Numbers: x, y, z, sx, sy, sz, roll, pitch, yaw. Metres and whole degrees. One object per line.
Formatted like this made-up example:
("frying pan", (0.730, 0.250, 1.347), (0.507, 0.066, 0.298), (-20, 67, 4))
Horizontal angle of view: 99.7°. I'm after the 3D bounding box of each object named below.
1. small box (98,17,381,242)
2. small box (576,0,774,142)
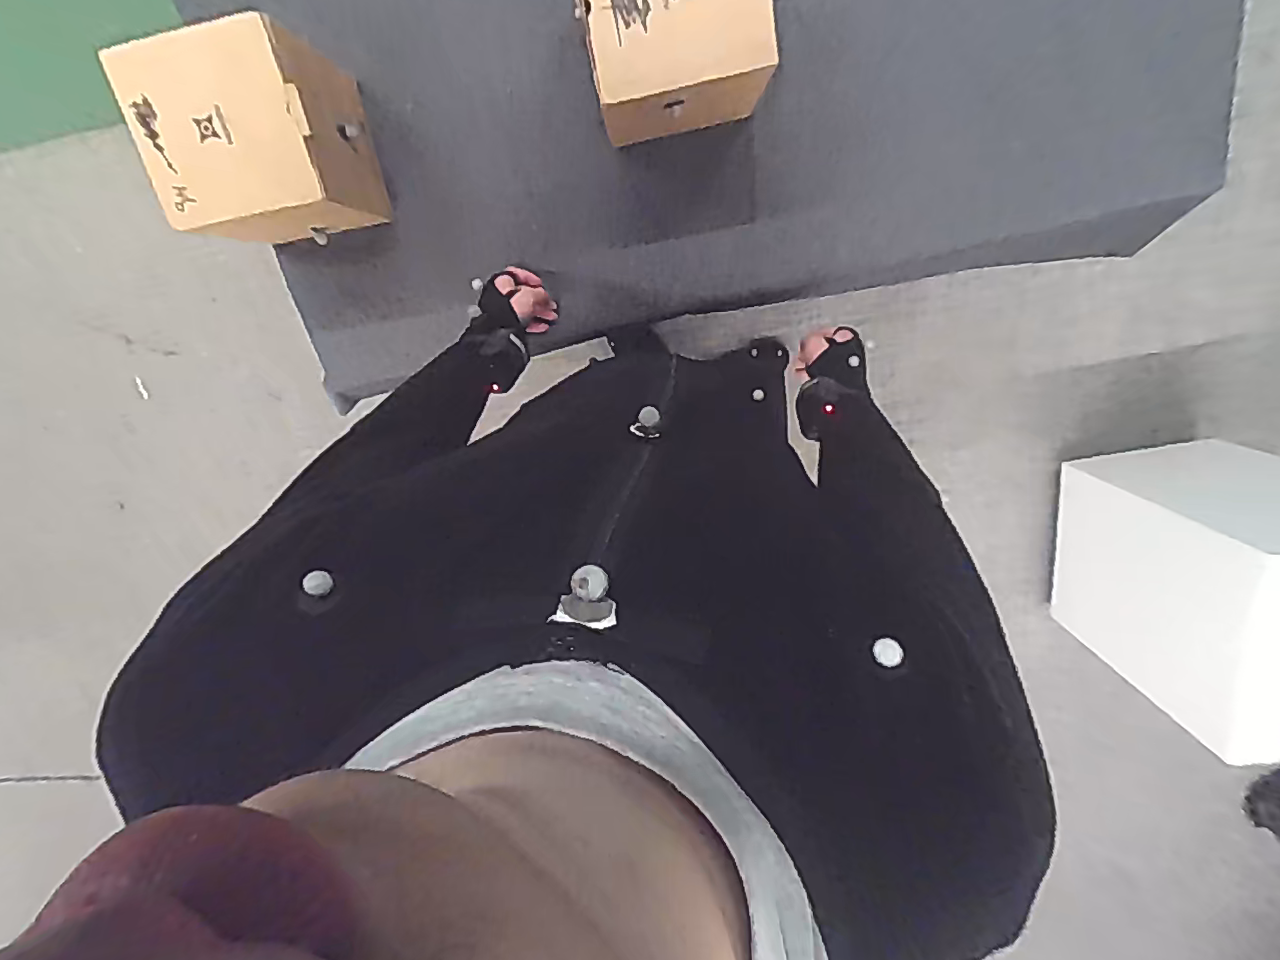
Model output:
("small box", (-0.424, -0.378, 0.616), (0.179, 0.176, 0.168), (-9, 109, 4))
("small box", (0.029, -0.479, 0.566), (0.179, 0.176, 0.168), (-10, 109, 4))
